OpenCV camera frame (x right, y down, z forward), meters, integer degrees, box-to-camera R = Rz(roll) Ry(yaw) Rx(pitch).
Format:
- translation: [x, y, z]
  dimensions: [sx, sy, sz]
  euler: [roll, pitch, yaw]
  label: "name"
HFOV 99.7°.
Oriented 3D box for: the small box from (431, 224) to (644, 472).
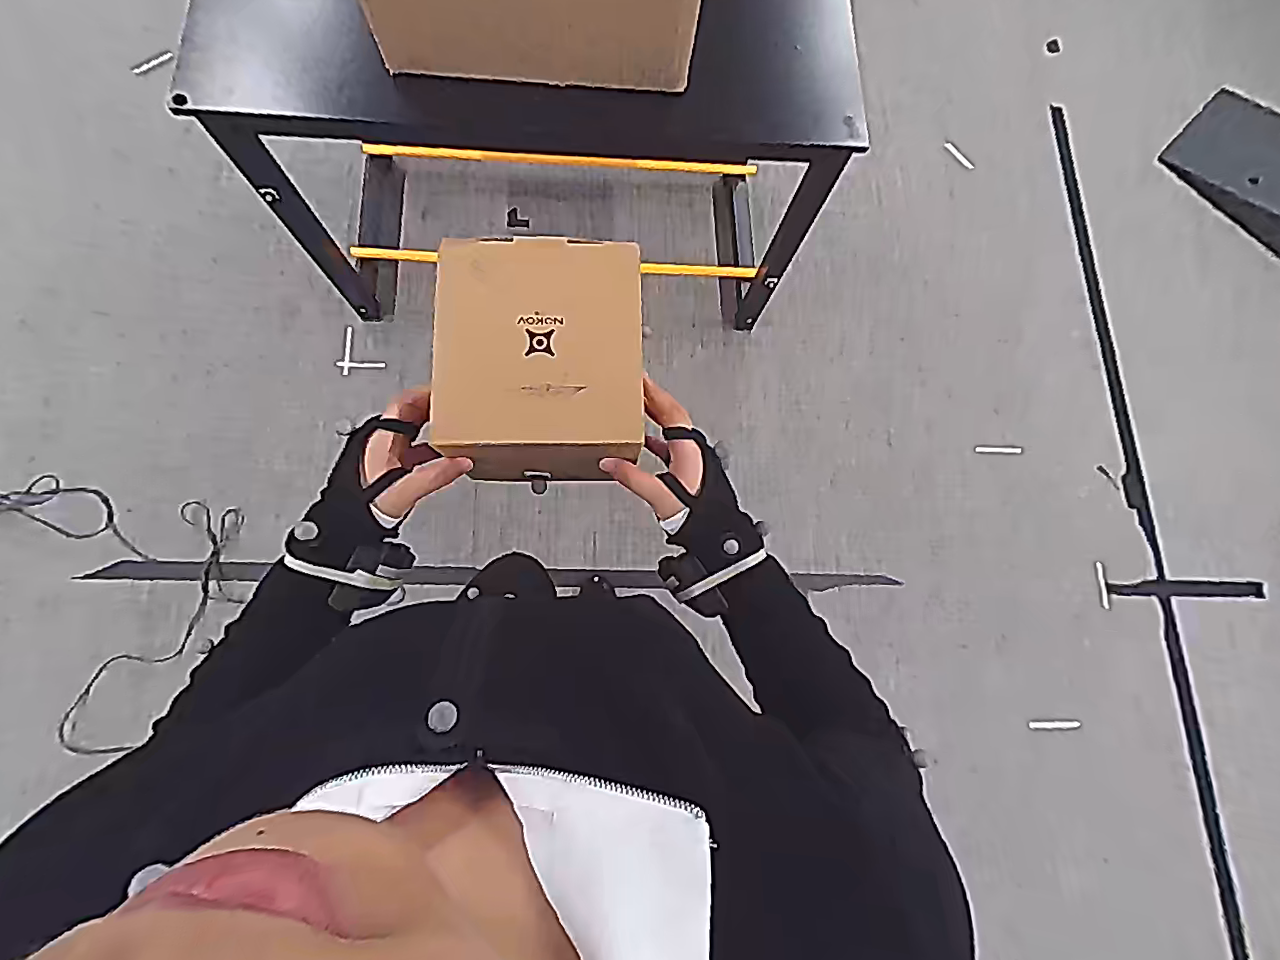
- translation: [-0.087, -0.110, 0.511]
  dimensions: [0.168, 0.176, 0.179]
  euler: [-1, 80, -5]
  label: "small box"
